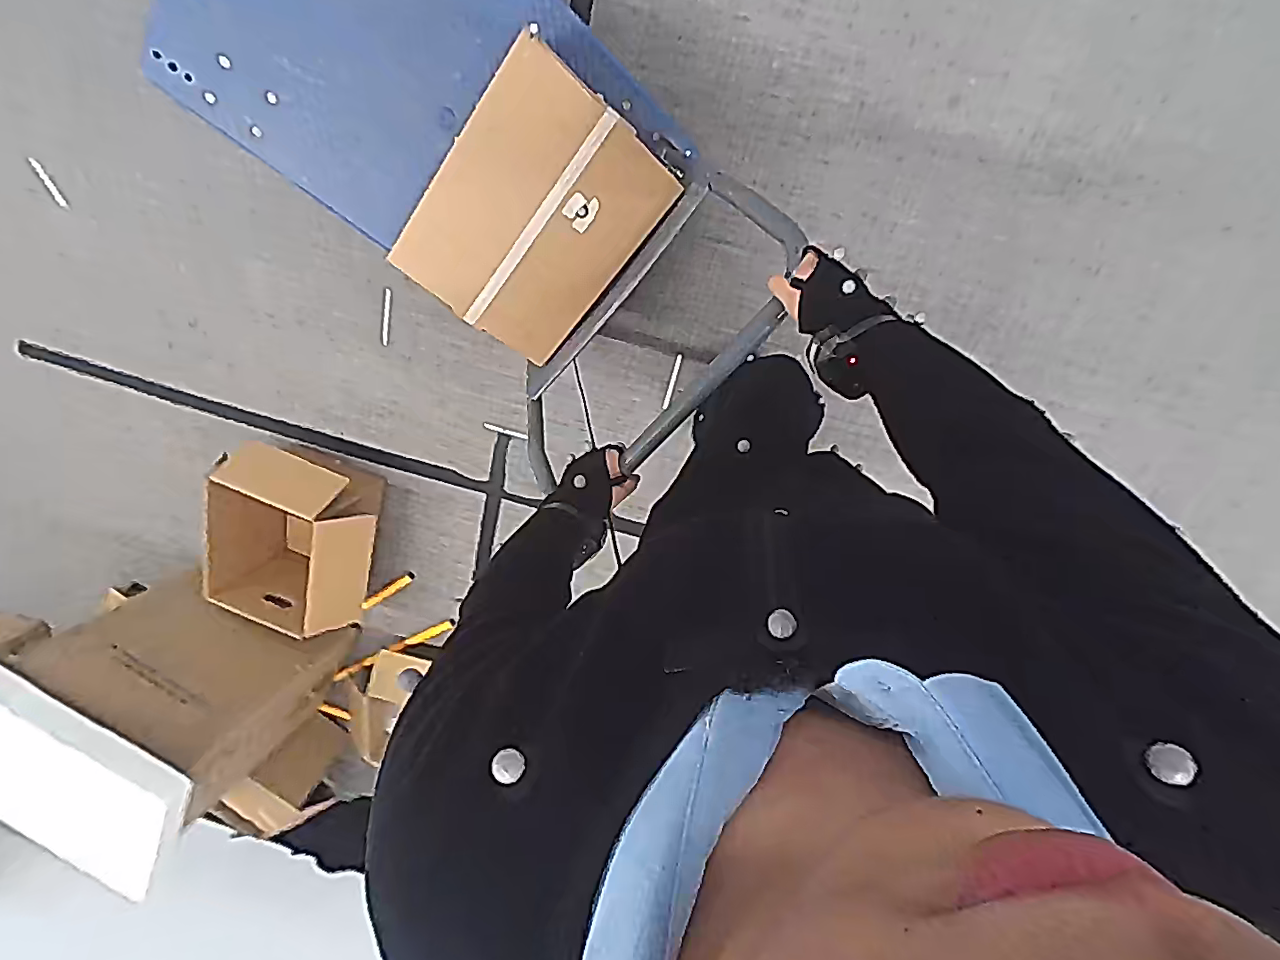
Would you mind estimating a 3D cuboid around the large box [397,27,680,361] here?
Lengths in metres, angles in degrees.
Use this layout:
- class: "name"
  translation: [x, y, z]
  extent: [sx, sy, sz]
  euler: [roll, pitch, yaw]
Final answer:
- class: "large box"
  translation: [-0.189, -0.513, 1.018]
  extent: [0.320, 0.320, 0.408]
  euler: [32, 114, -28]
